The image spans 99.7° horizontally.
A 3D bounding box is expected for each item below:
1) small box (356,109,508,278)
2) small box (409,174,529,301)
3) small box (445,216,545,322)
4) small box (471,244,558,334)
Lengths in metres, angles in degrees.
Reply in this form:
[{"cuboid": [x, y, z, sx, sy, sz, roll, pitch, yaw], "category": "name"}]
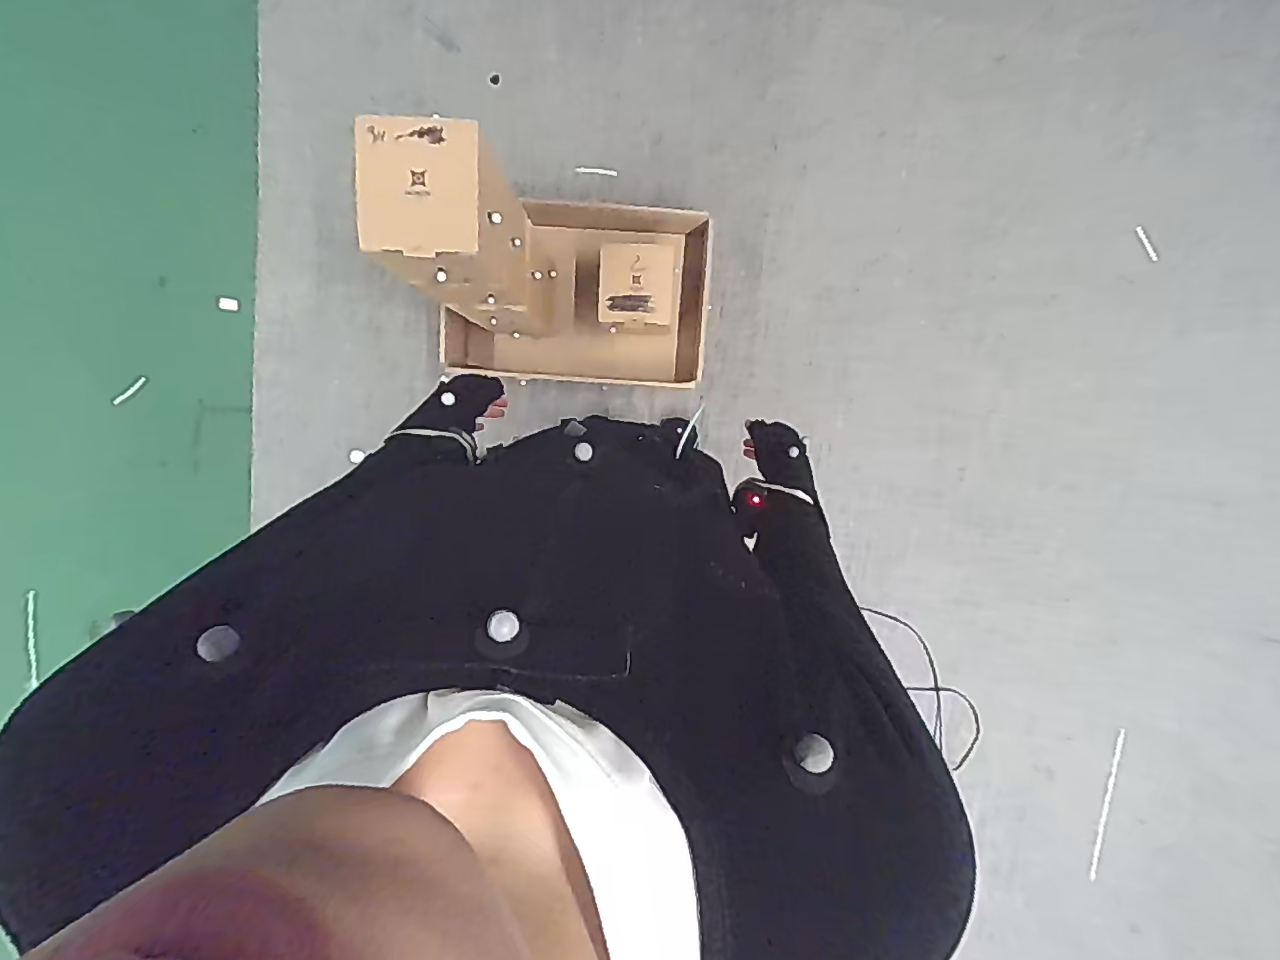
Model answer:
[{"cuboid": [-0.295, -0.407, 0.799, 0.168, 0.176, 0.179, 3, 98, -2], "category": "small box"}, {"cuboid": [-0.296, -0.424, 0.962, 0.168, 0.176, 0.179, 3, 97, -1], "category": "small box"}, {"cuboid": [-0.294, -0.438, 1.125, 0.168, 0.176, 0.179, 4, 97, -1], "category": "small box"}, {"cuboid": [-0.293, -0.456, 1.288, 0.168, 0.176, 0.179, 6, 97, 0], "category": "small box"}]
